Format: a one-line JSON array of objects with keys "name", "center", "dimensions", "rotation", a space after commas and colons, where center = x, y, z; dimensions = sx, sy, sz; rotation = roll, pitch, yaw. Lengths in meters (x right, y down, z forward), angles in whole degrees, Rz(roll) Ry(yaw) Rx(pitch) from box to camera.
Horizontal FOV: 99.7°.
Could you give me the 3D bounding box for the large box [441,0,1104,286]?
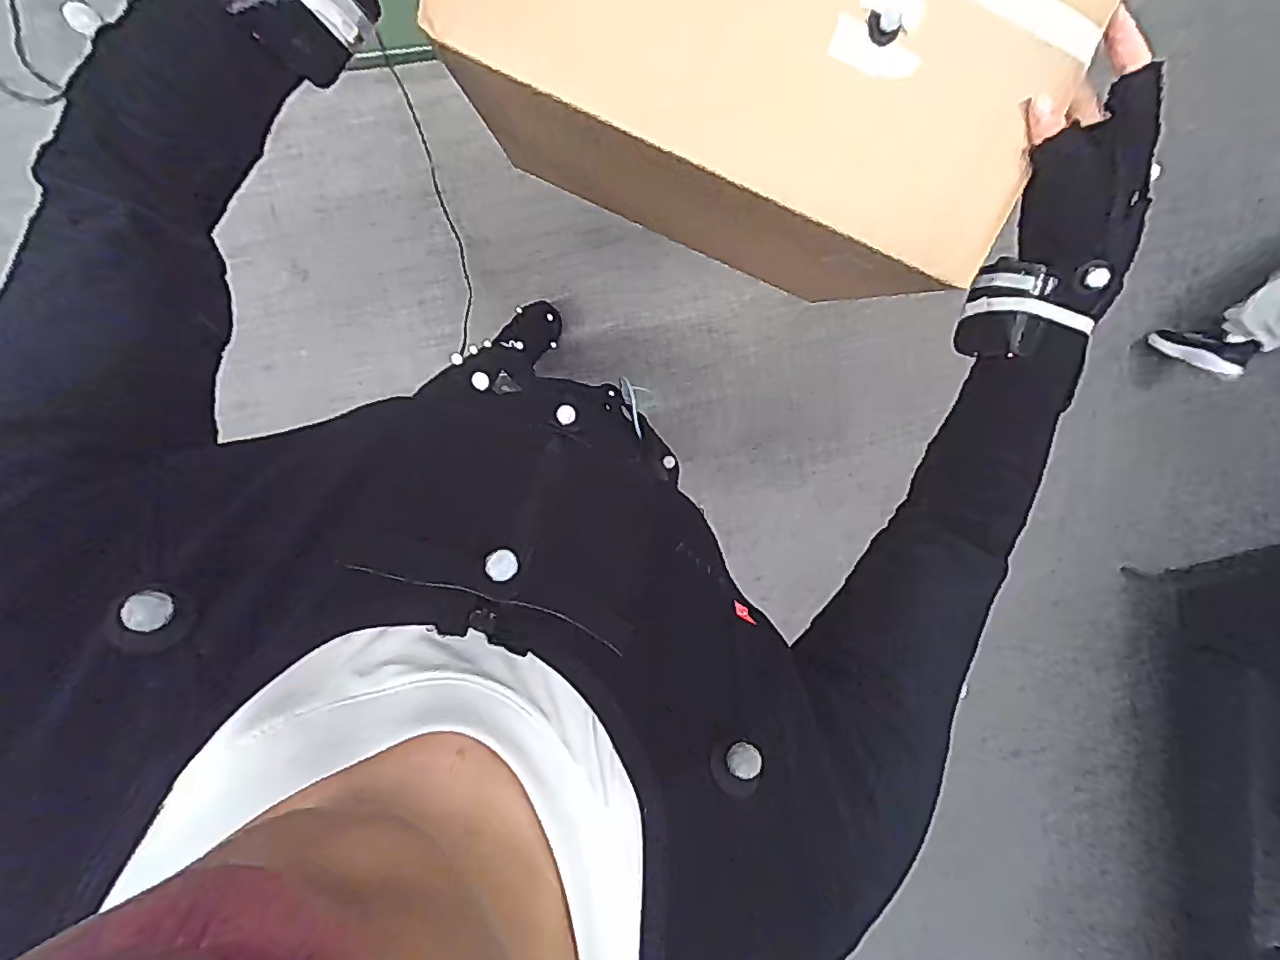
[{"name": "large box", "center": [0.099, -0.400, 0.473], "dimensions": [0.408, 0.320, 0.320], "rotation": [19, 105, -9]}]
